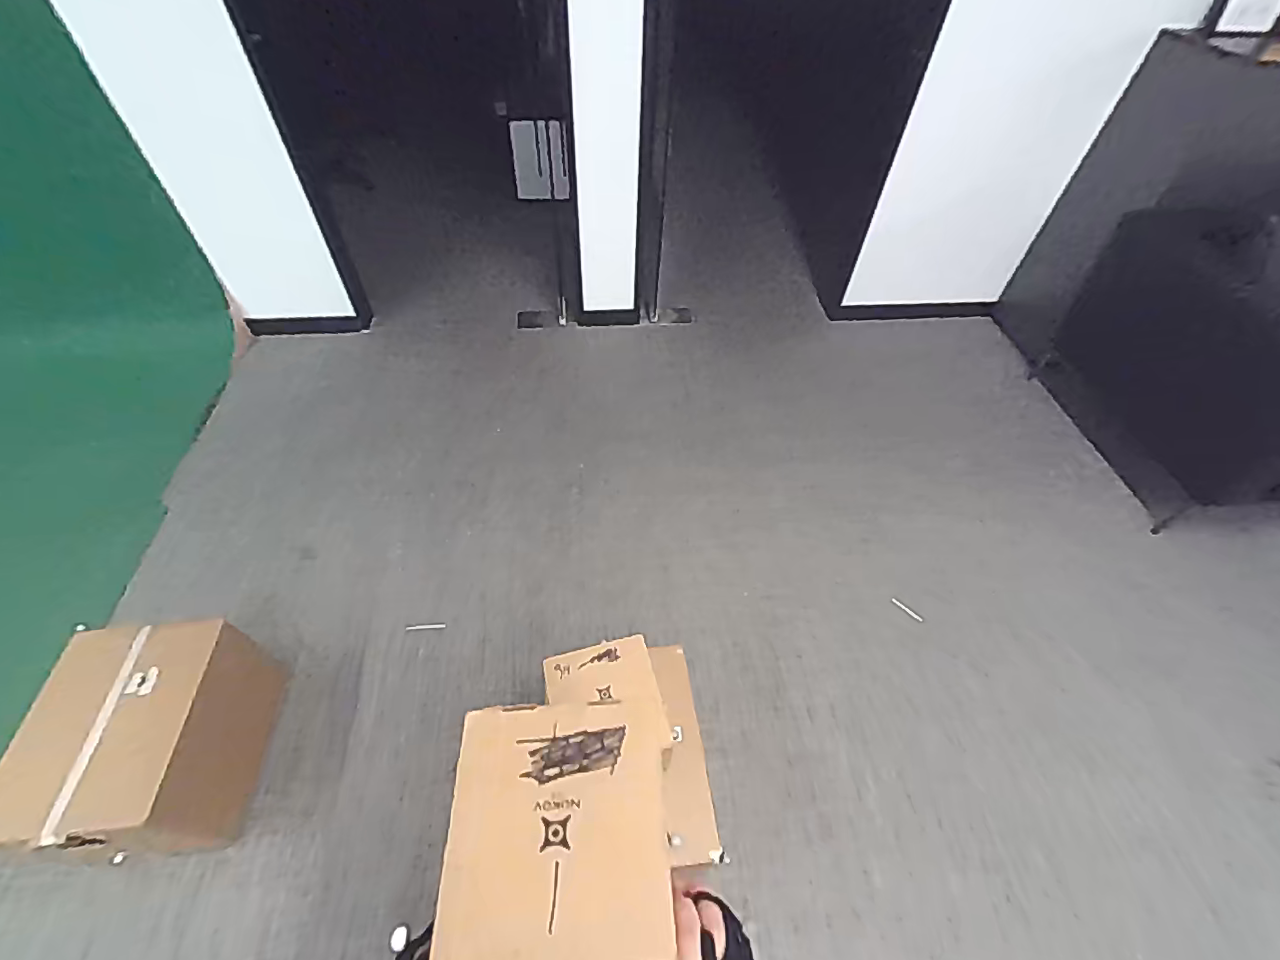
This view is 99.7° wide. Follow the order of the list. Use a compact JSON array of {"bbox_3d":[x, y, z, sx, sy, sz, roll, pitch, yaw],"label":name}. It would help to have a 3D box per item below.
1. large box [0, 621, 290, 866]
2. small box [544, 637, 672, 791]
[{"bbox_3d":[-1.058,0.578,1.198,0.320,0.320,0.408,-4,50,-5],"label":"large box"},{"bbox_3d":[-0.051,0.383,0.872,0.168,0.176,0.179,-12,53,-10],"label":"small box"}]
